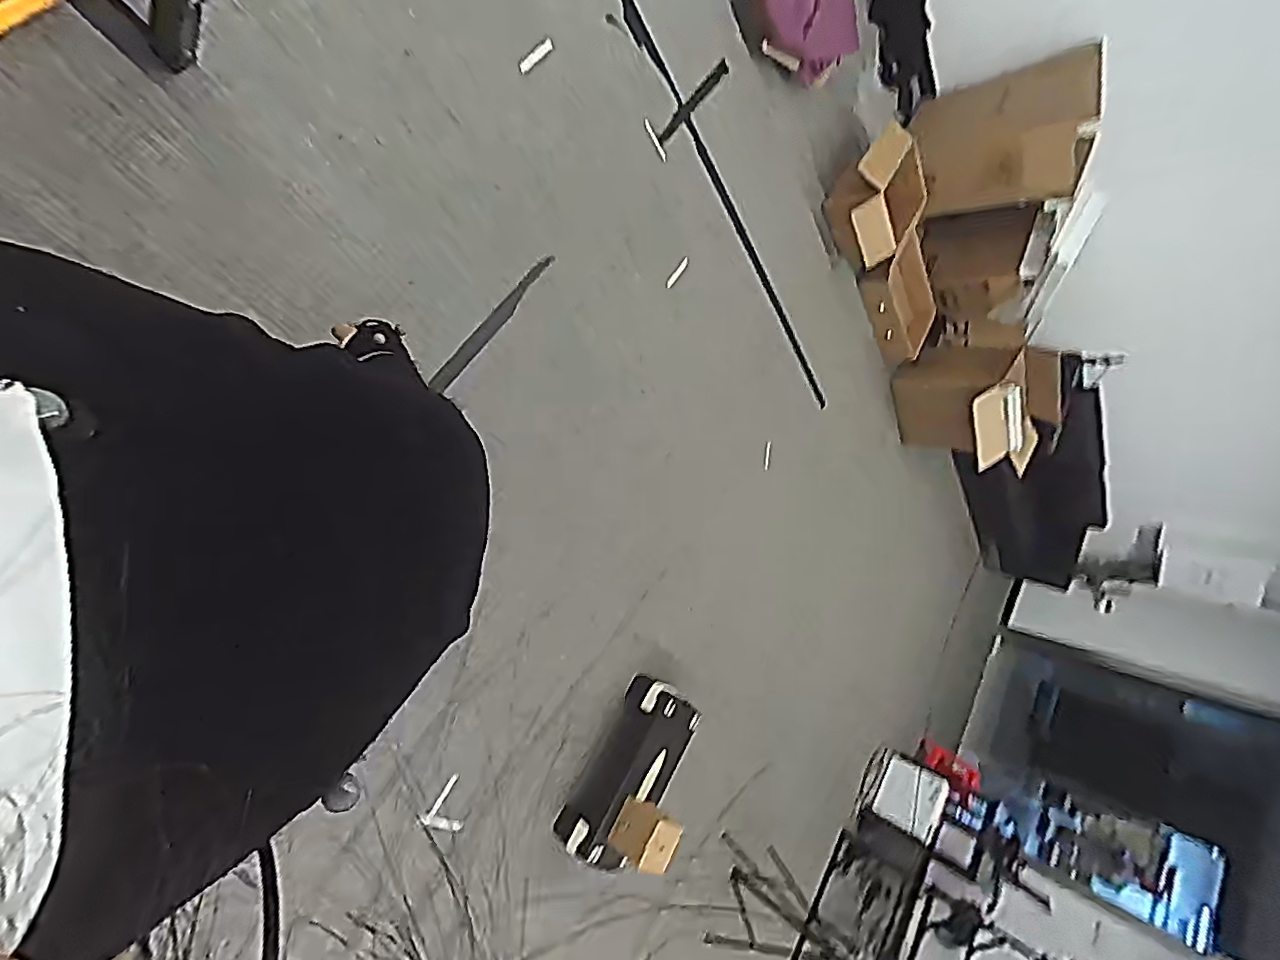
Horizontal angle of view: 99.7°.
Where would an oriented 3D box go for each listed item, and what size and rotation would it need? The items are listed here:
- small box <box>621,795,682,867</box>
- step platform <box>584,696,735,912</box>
[{"bbox_3d":[0.017,1.283,1.993,0.179,0.176,0.168,45,67,-38],"label":"small box"},{"bbox_3d":[0.085,1.160,1.985,0.286,0.204,0.684,46,68,-39],"label":"step platform"}]
